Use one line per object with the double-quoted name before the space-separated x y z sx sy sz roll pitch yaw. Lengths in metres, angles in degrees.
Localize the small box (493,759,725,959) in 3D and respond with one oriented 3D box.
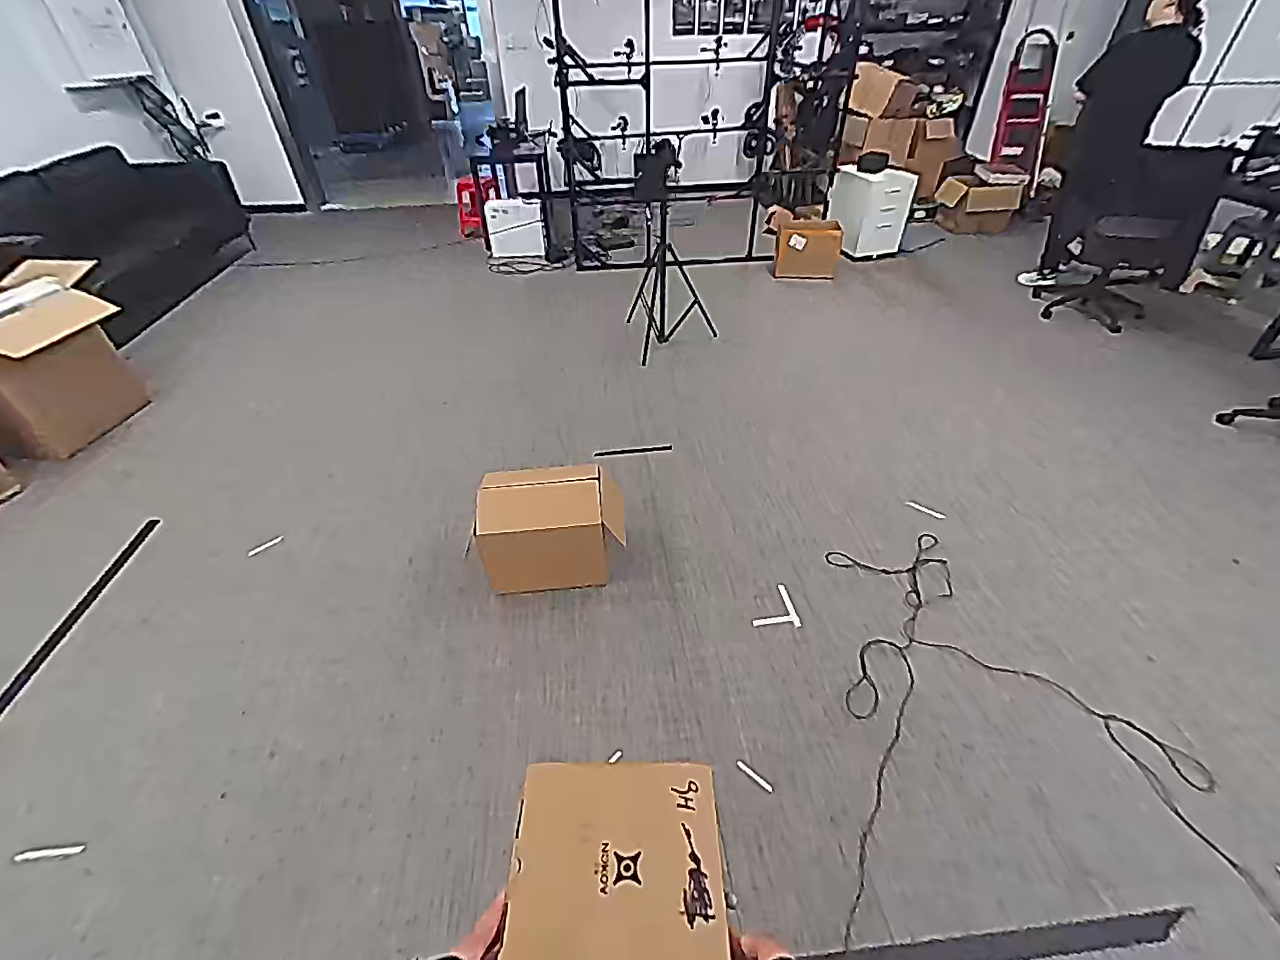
"small box" -0.023 0.381 0.501 0.179 0.176 0.168 0 39 -1
